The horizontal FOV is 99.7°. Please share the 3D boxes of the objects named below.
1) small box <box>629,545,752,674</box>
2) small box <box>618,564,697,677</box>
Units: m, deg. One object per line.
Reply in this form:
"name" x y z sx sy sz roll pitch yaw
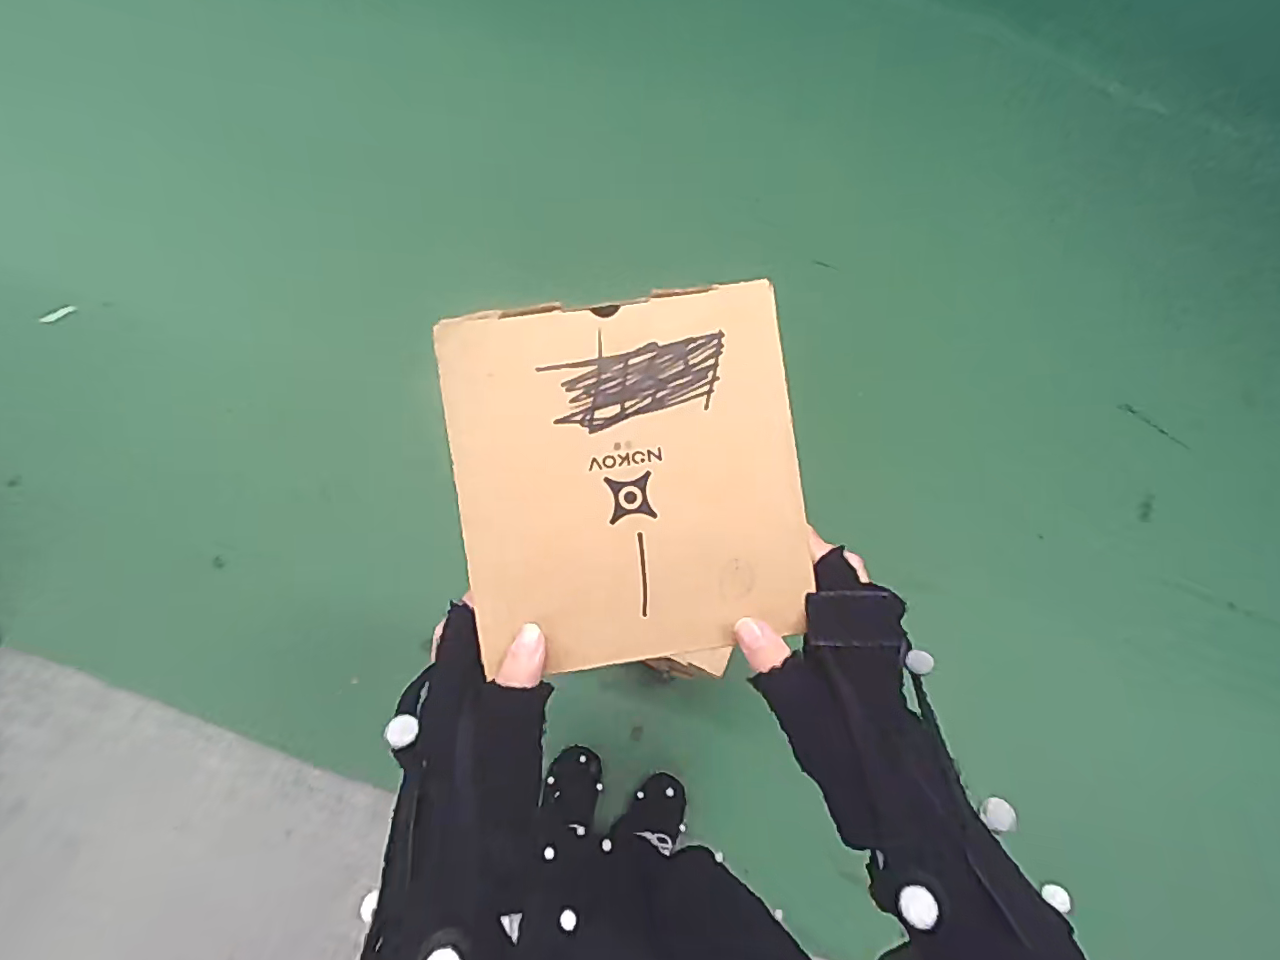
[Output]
"small box" 0.087 0.251 1.033 0.168 0.176 0.179 26 71 1
"small box" 0.063 0.304 1.166 0.168 0.176 0.179 28 70 0
